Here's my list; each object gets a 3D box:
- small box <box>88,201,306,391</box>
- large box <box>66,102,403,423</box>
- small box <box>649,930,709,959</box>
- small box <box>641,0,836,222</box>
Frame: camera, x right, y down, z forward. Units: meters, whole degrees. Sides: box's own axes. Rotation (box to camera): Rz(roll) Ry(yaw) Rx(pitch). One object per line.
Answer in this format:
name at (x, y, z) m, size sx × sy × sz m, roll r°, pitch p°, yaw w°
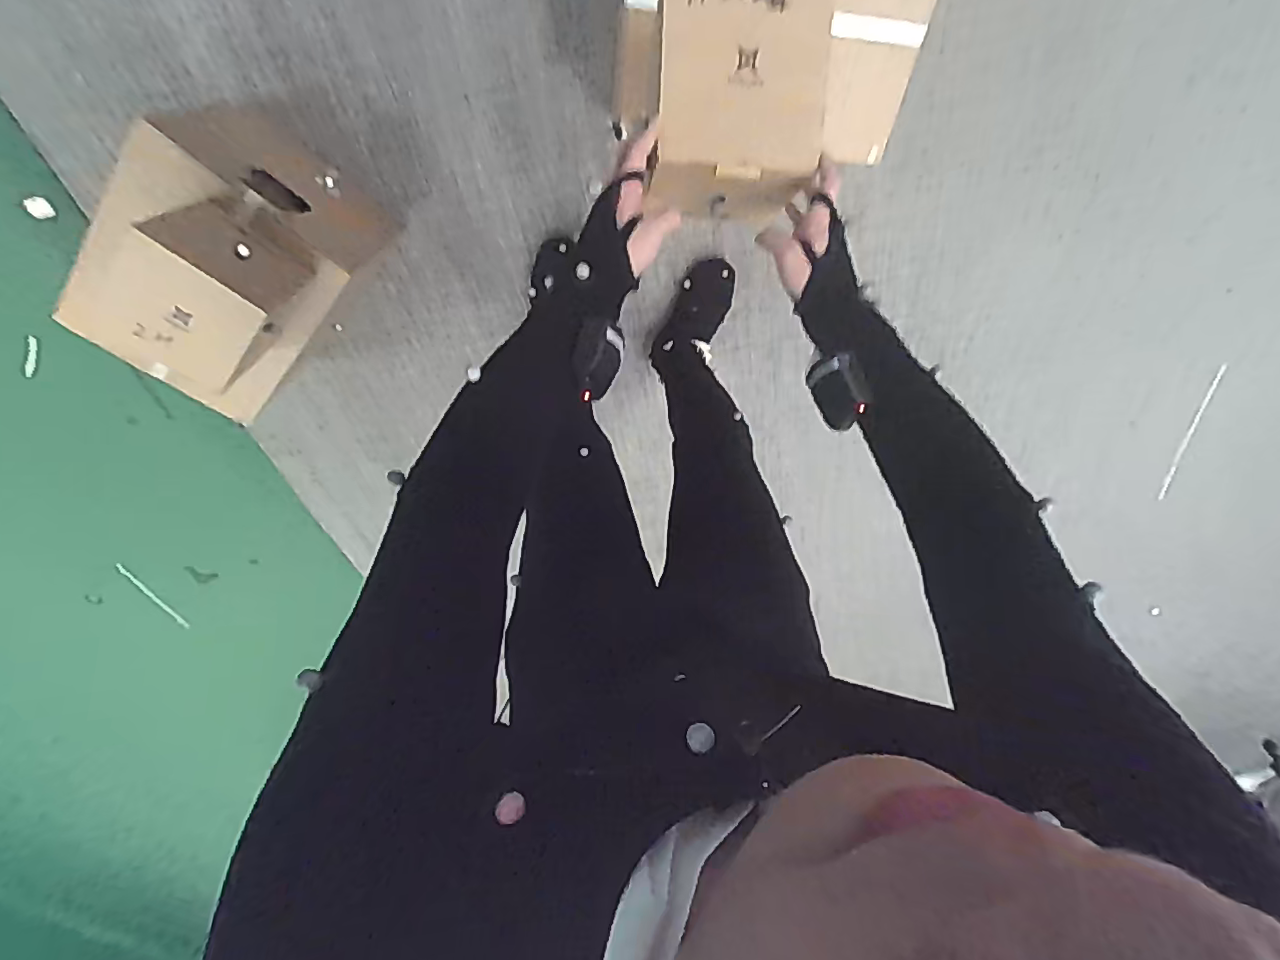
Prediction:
small box at (-0.628, -0.272, 0.790) m, size 0.168 × 0.176 × 0.179 m, roll 37°, pitch 117°, yaw -28°
large box at (-0.715, -0.396, 1.000) m, size 0.408 × 0.320 × 0.320 m, roll -39°, pitch 119°, yaw 24°
small box at (0.125, 1.499, 1.649) m, size 0.168 × 0.176 × 0.179 m, roll -11°, pitch 128°, yaw 5°
small box at (0.092, -0.399, 0.592) m, size 0.168 × 0.176 × 0.179 m, roll 2°, pitch 100°, yaw -6°
